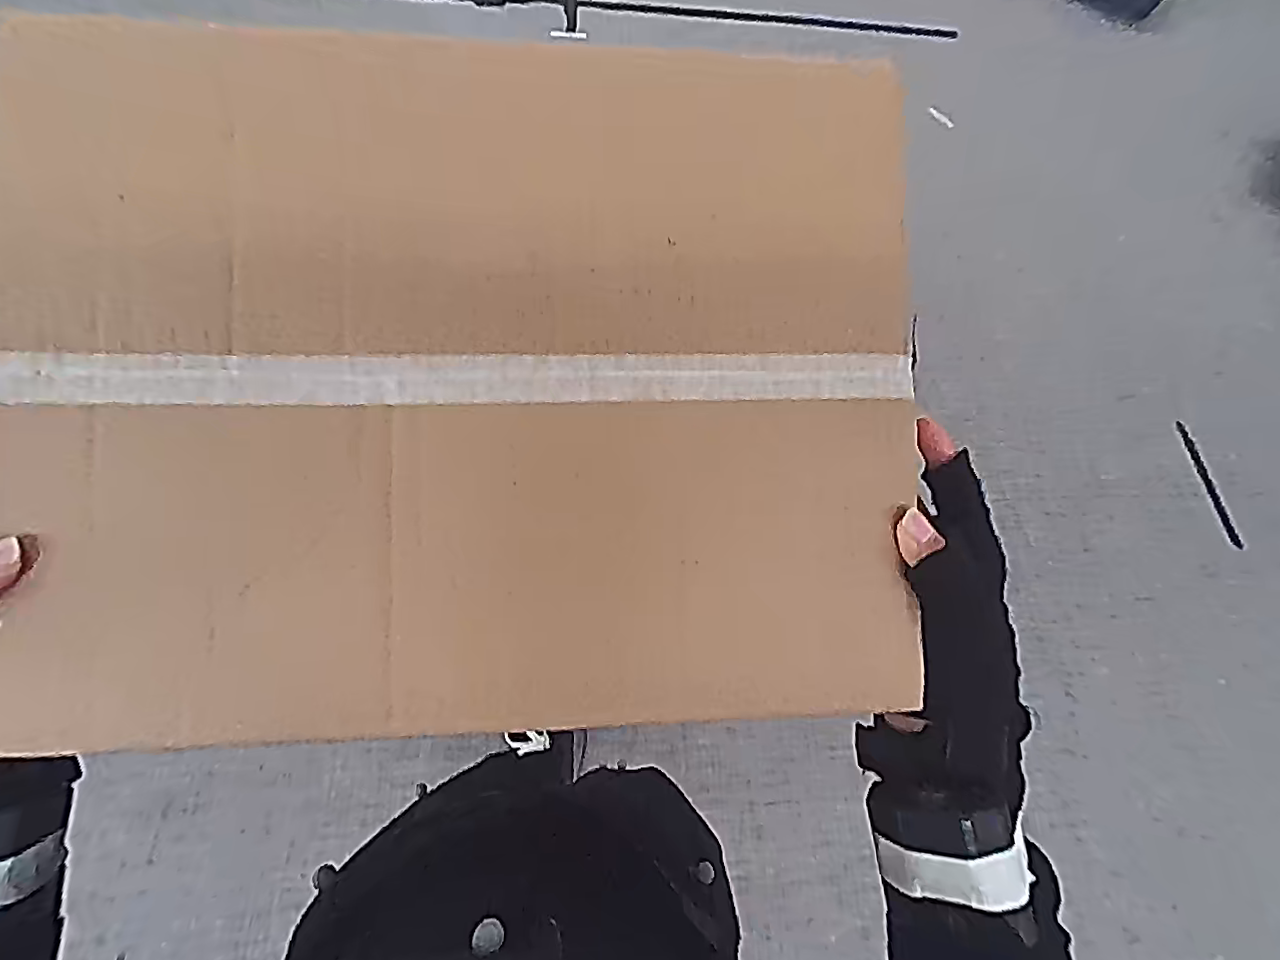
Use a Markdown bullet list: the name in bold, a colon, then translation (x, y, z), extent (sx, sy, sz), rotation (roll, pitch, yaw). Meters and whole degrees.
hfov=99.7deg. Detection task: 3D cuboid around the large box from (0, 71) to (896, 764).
- **large box**: translation (-0.086, -0.032, 0.400), extent (0.408, 0.320, 0.320), rotation (-1, 87, -5)
